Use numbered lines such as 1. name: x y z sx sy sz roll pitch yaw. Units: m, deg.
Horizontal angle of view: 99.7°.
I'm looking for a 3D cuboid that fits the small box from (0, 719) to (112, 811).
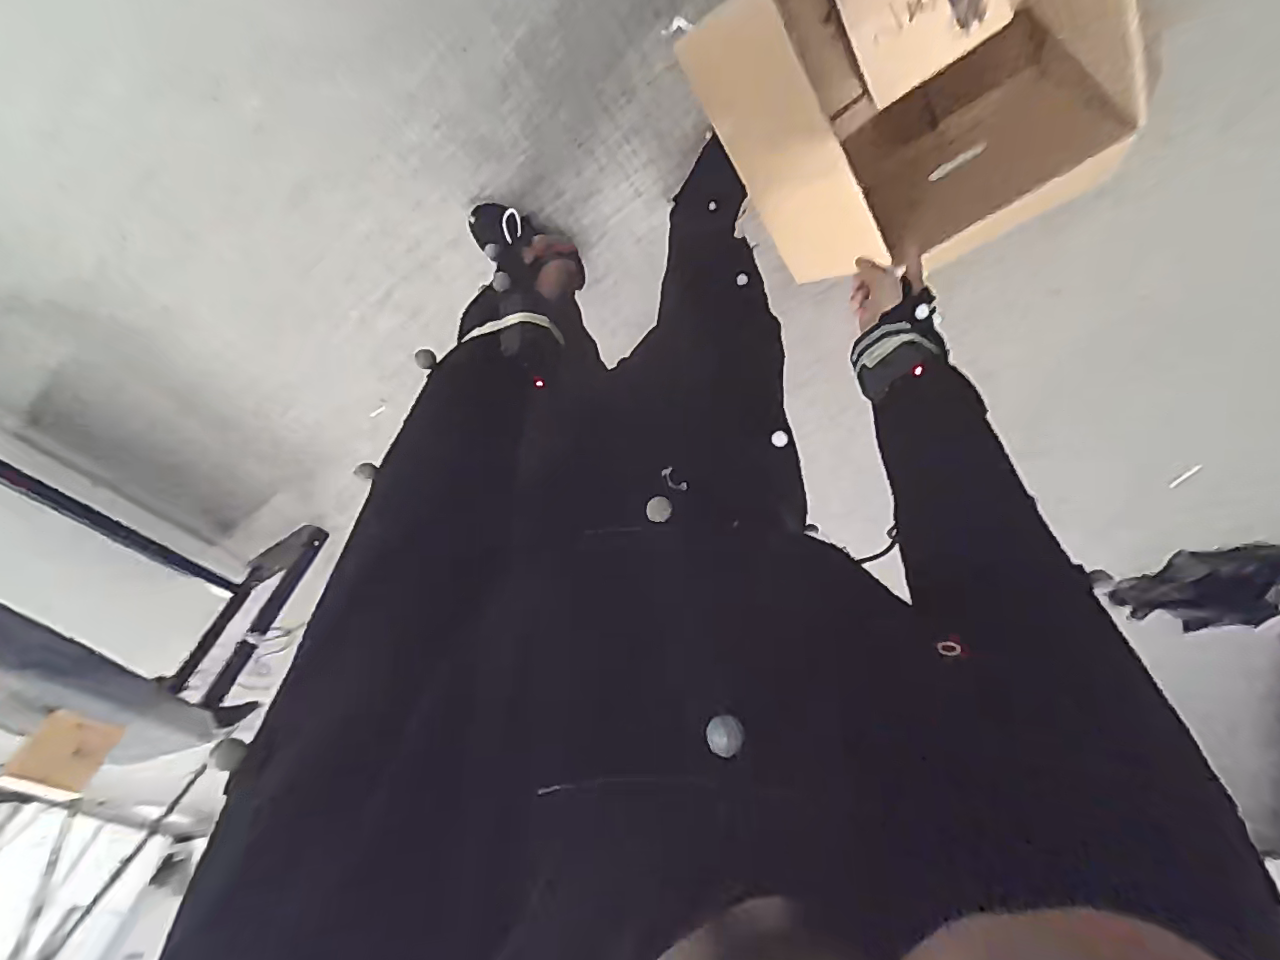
1. small box: -1.526 0.731 1.391 0.179 0.176 0.168 -25 126 30
